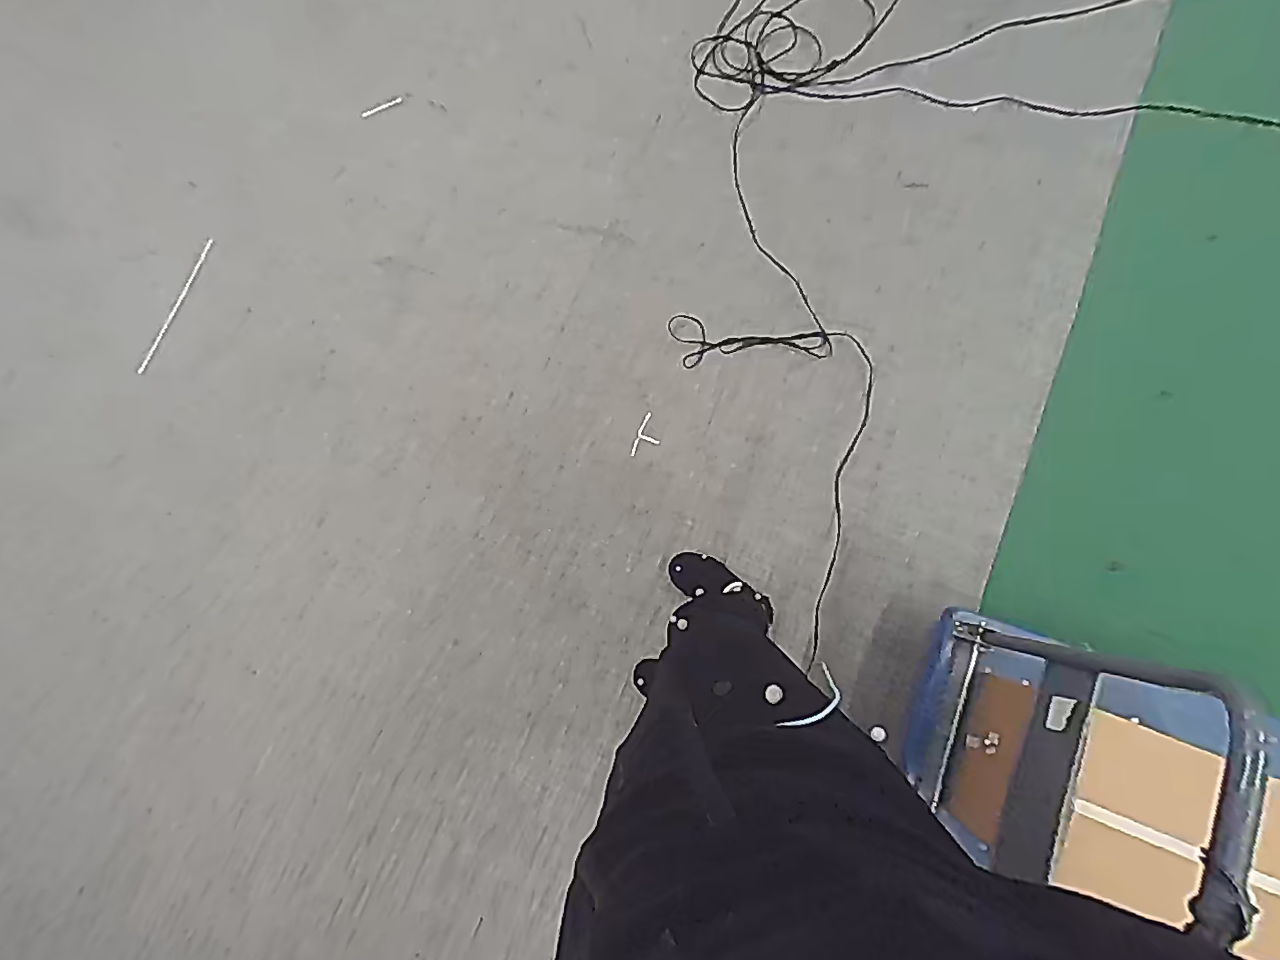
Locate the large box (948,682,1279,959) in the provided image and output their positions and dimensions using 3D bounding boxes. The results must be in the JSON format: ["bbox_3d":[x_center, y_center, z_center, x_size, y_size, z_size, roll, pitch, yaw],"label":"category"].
[{"bbox_3d":[0.883,0.621,1.014,0.408,0.320,0.320,21,82,6],"label":"large box"}]
